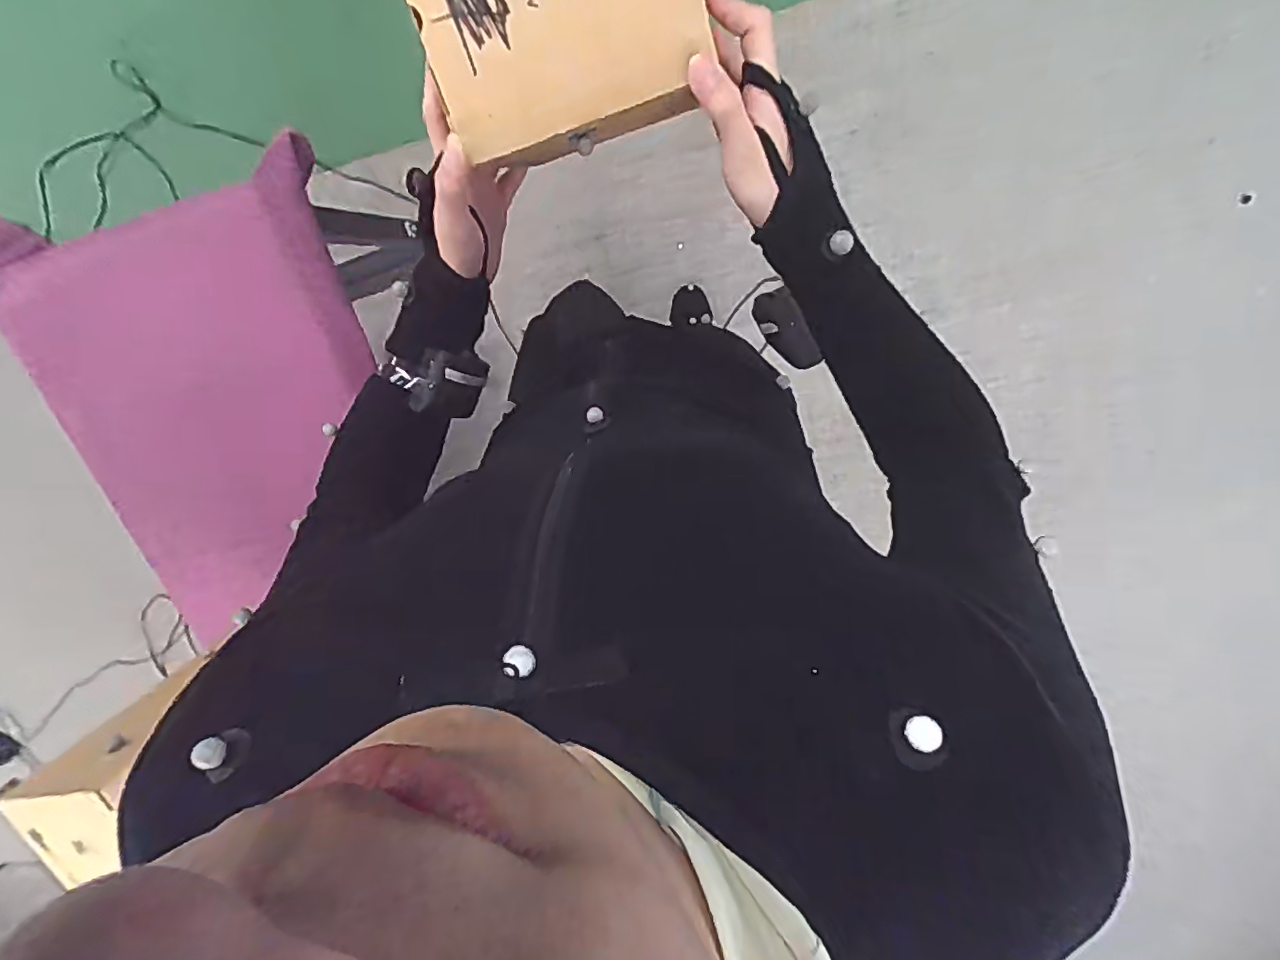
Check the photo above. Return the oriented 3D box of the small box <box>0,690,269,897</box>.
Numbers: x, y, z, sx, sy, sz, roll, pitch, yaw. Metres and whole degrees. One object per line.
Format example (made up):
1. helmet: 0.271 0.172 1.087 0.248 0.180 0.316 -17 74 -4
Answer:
1. small box: -0.632 0.398 0.705 0.179 0.176 0.168 -13 107 13

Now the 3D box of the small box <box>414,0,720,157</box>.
1. small box: -0.043 -0.340 0.377 0.179 0.176 0.168 -10 118 13
